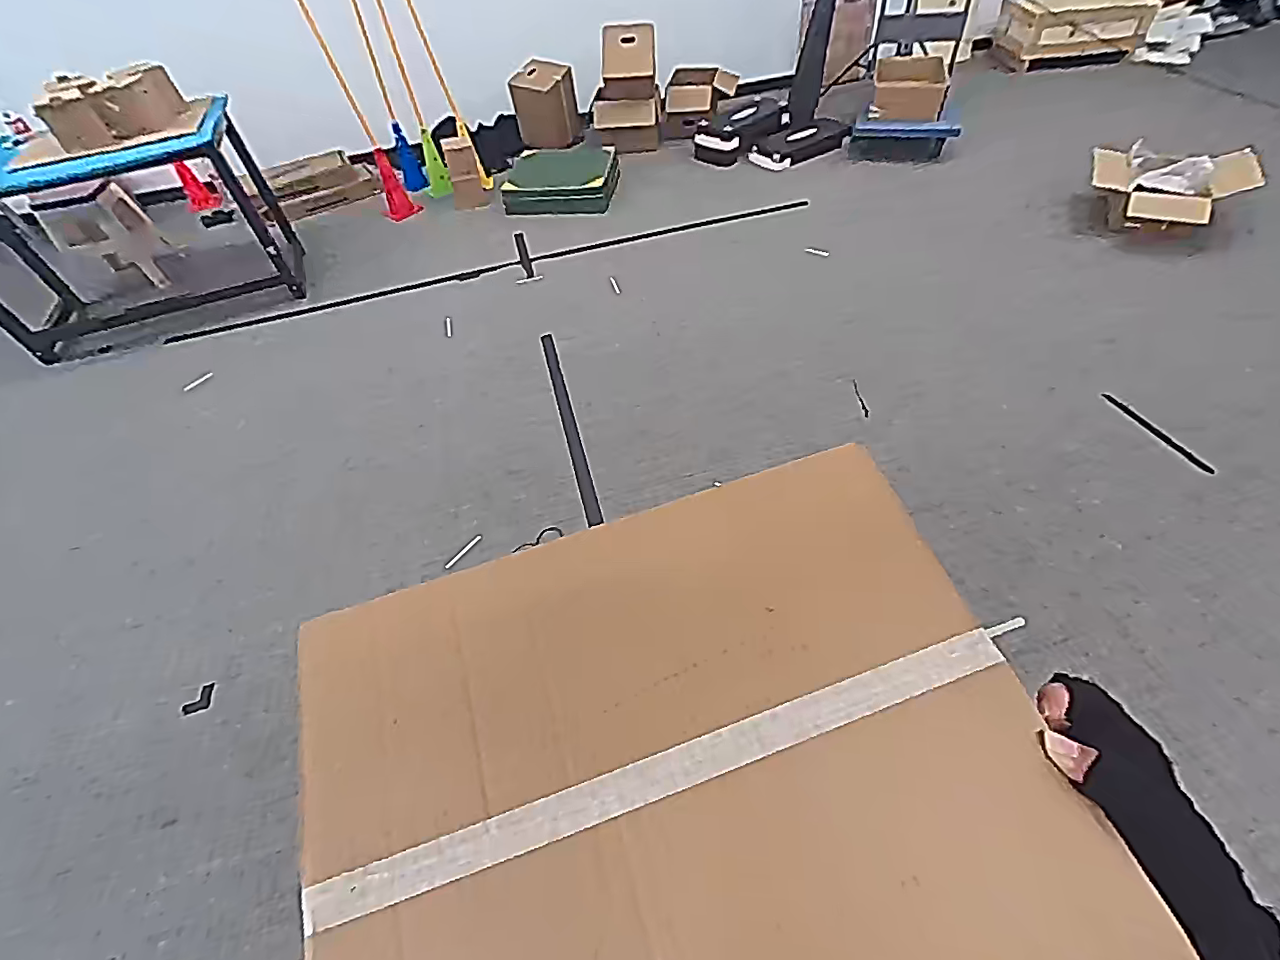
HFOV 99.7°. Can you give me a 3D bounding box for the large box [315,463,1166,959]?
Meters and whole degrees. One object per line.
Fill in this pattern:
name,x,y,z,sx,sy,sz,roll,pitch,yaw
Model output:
large box,0.032,0.243,0.437,0.408,0.320,0.320,-18,61,-6
